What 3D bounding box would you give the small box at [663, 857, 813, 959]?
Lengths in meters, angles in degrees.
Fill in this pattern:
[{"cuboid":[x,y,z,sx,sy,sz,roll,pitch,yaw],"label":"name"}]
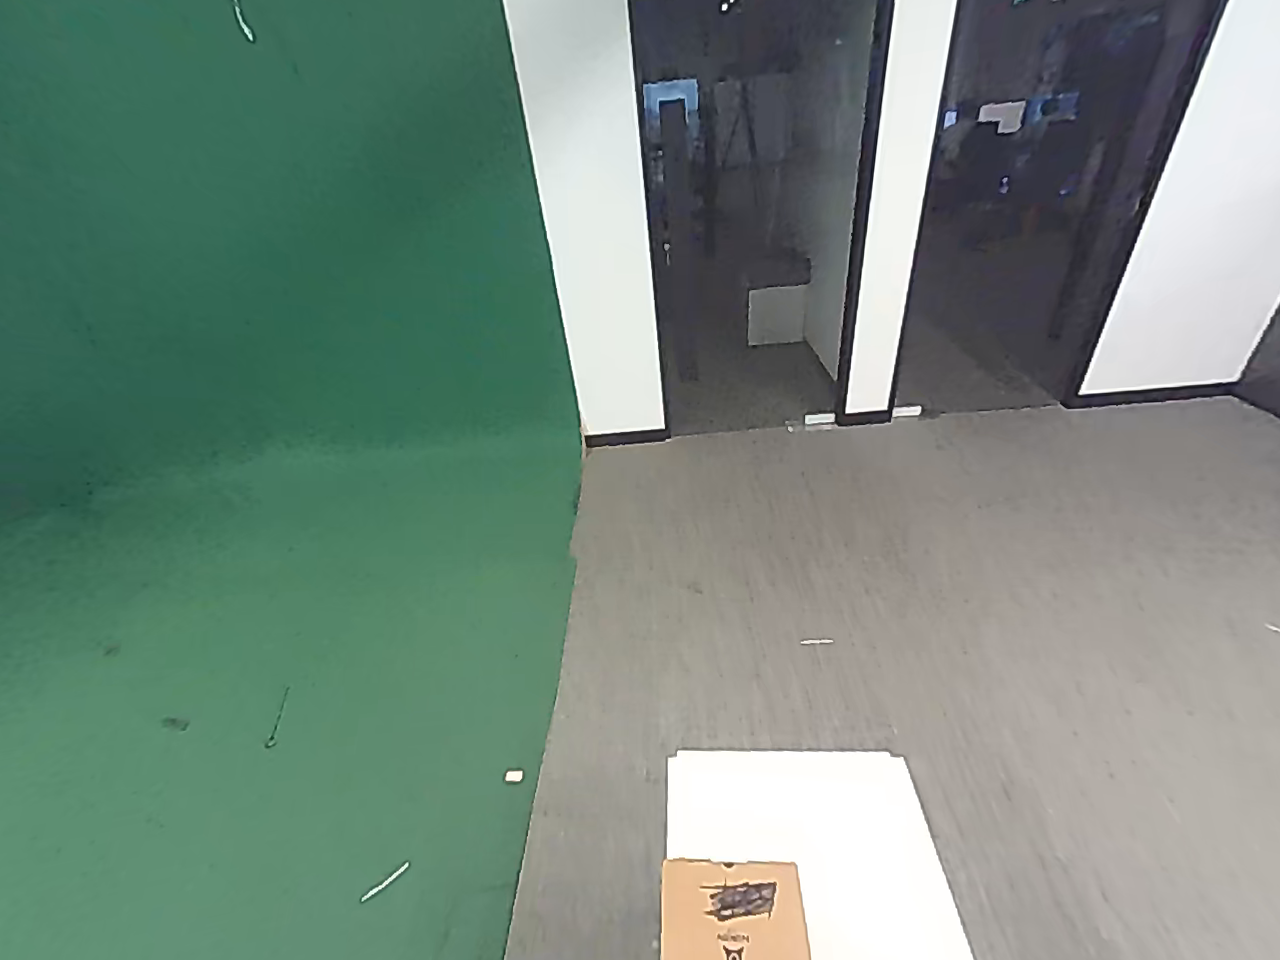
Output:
[{"cuboid":[0.114,0.584,0.642,0.168,0.176,0.179,-3,34,6],"label":"small box"}]
